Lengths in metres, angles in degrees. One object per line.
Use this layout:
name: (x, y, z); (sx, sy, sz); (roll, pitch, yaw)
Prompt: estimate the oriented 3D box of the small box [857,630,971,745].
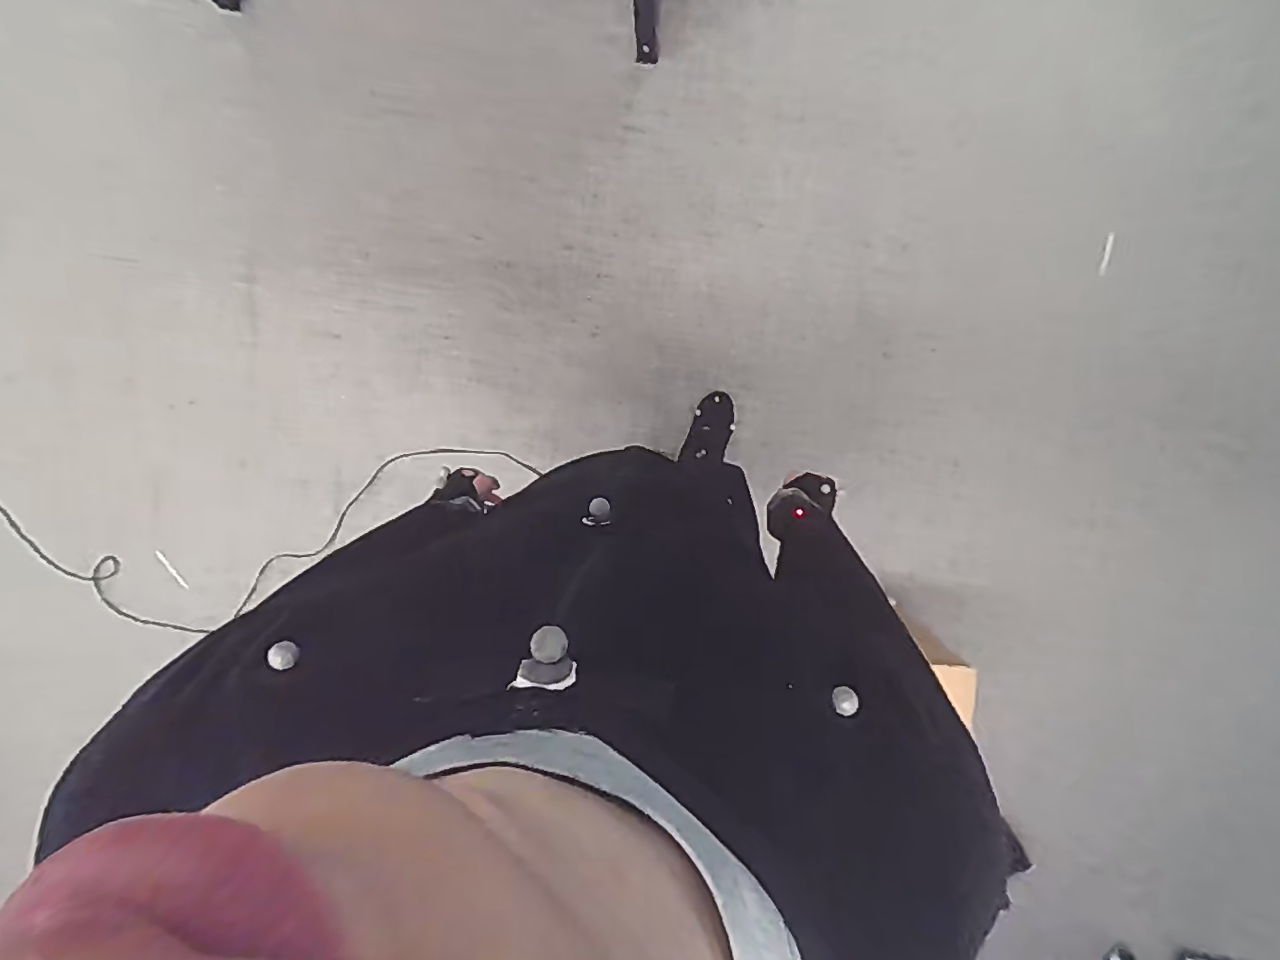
small box: (0.594, 0.450, 1.194); (0.168, 0.176, 0.179); (4, 94, 1)
